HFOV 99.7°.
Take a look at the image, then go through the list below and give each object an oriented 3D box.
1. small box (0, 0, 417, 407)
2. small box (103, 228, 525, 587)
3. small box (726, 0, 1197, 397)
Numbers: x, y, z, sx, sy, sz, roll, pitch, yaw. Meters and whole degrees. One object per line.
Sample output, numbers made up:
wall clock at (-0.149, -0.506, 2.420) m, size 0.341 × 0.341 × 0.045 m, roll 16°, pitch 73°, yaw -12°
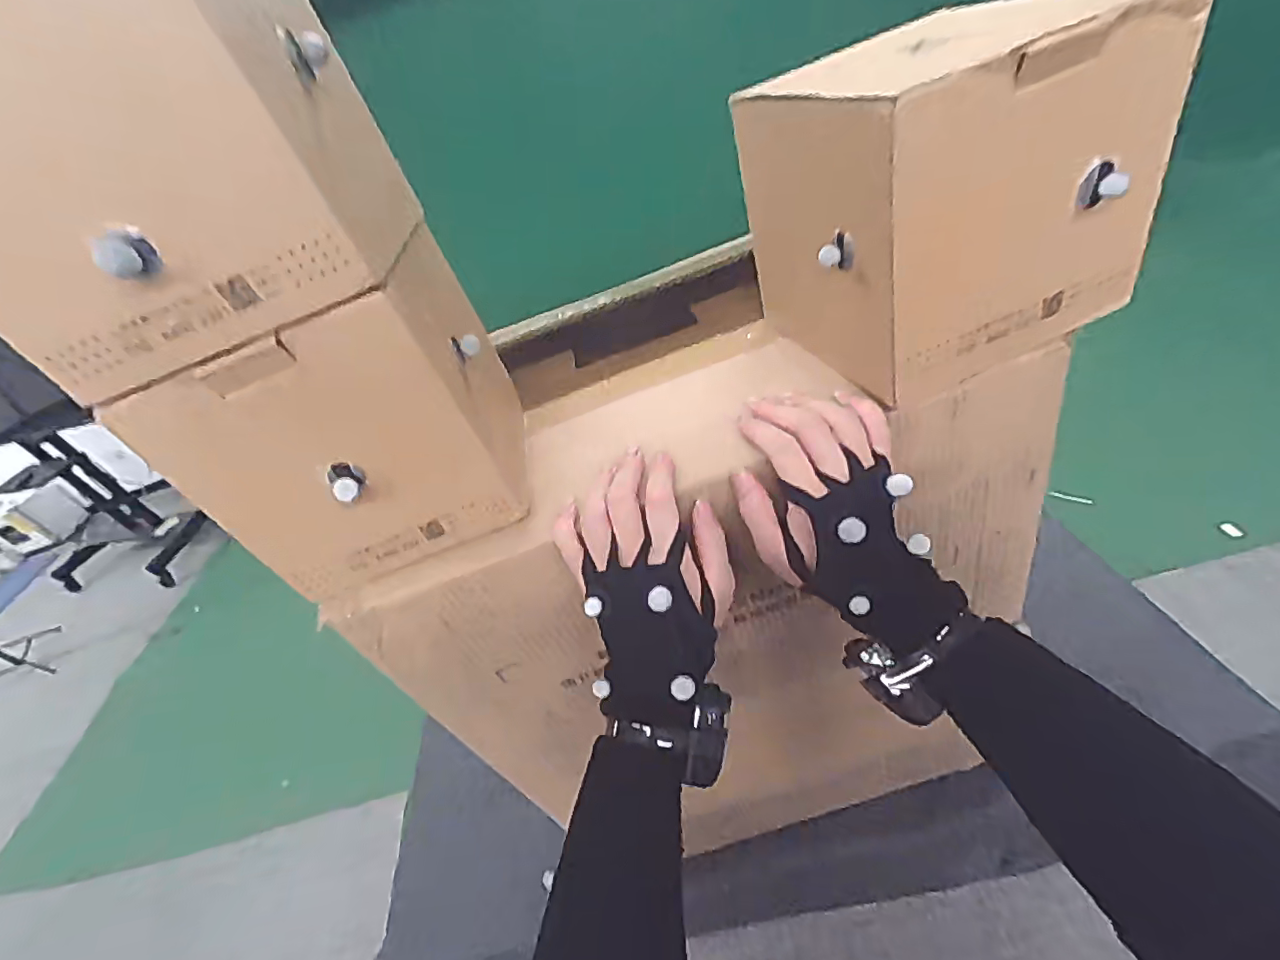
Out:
small box at (-0.243, -0.167, 0.286) m, size 0.168 × 0.176 × 0.179 m, roll -22°, pitch 38°, yaw 3°
small box at (-0.192, -0.047, 0.387) m, size 0.168 × 0.176 × 0.179 m, roll -22°, pitch 38°, yaw 2°
small box at (0.178, -0.175, 0.352) m, size 0.168 × 0.176 × 0.179 m, roll -23°, pitch 37°, yaw -4°
